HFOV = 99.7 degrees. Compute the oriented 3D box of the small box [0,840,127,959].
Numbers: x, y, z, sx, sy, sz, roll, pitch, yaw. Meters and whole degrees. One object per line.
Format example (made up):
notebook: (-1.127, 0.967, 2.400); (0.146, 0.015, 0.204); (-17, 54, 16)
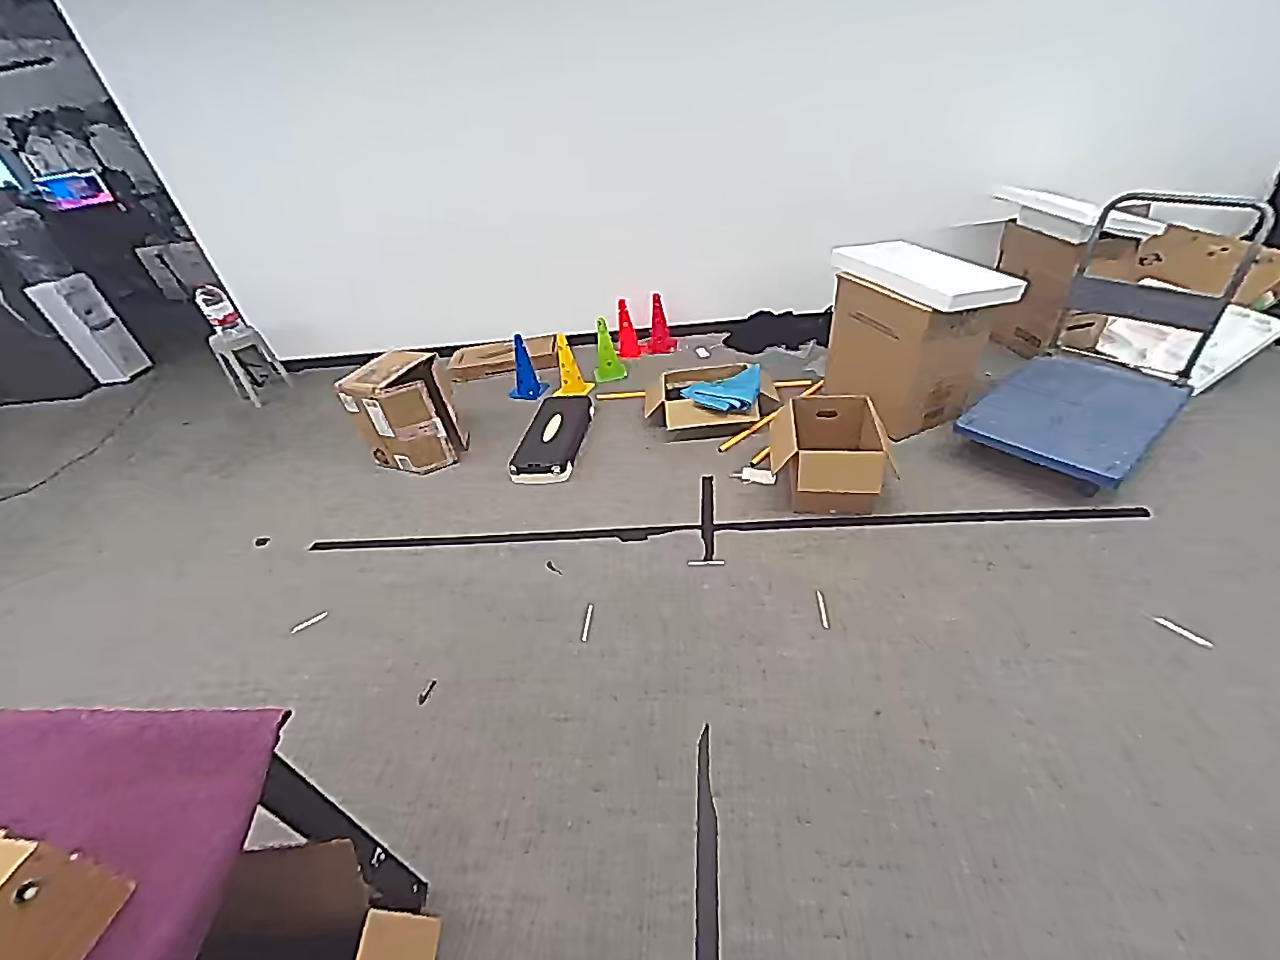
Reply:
small box: (-0.773, 0.539, 0.621); (0.168, 0.176, 0.179); (0, 38, 12)
